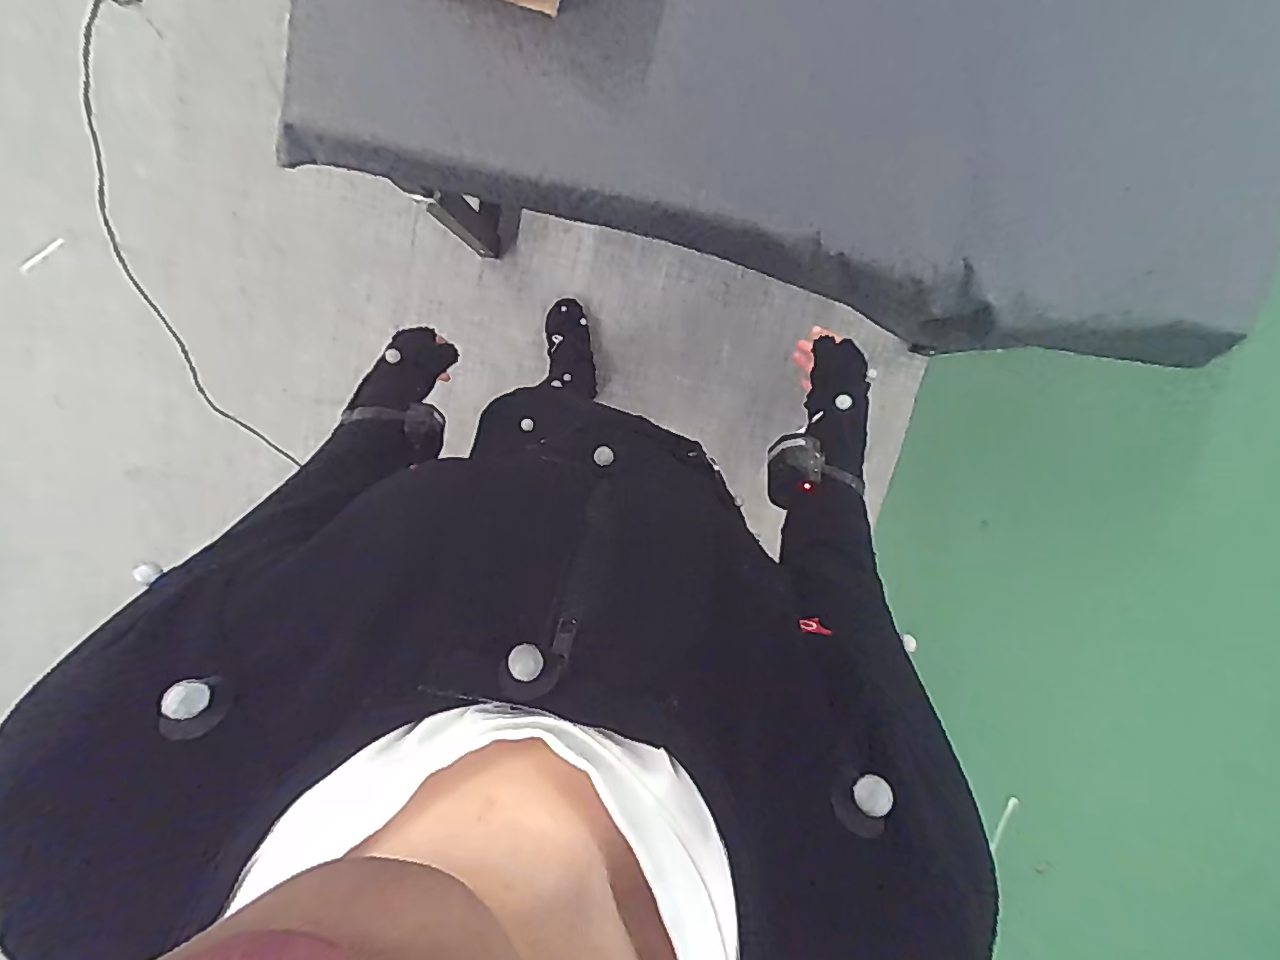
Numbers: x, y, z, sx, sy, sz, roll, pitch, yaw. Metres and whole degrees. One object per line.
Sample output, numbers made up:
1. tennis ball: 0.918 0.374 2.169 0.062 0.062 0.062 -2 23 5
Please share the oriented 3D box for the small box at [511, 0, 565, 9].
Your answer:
1. small box: -0.150 -0.615 0.522 0.179 0.176 0.168 16 100 -5
